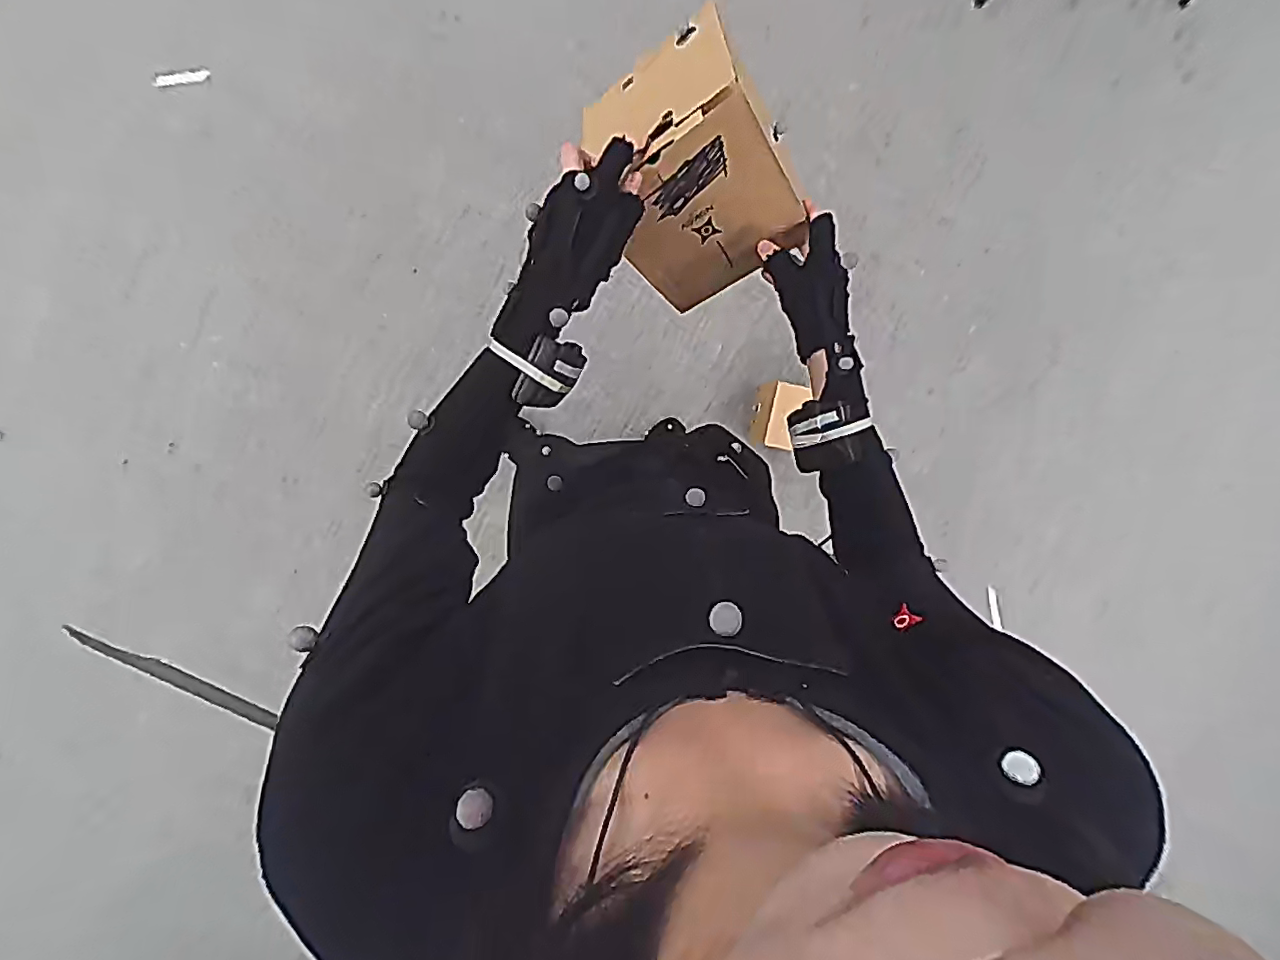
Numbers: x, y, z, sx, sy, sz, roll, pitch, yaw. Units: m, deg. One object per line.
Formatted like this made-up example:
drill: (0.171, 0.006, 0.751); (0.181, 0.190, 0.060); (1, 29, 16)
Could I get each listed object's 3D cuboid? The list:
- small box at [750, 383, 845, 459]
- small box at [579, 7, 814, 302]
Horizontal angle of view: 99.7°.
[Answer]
small box: (0.411, -0.158, 1.438); (0.179, 0.176, 0.168); (11, 95, -5)
small box: (0.053, -0.330, 0.556); (0.168, 0.176, 0.179); (-24, 143, 30)
